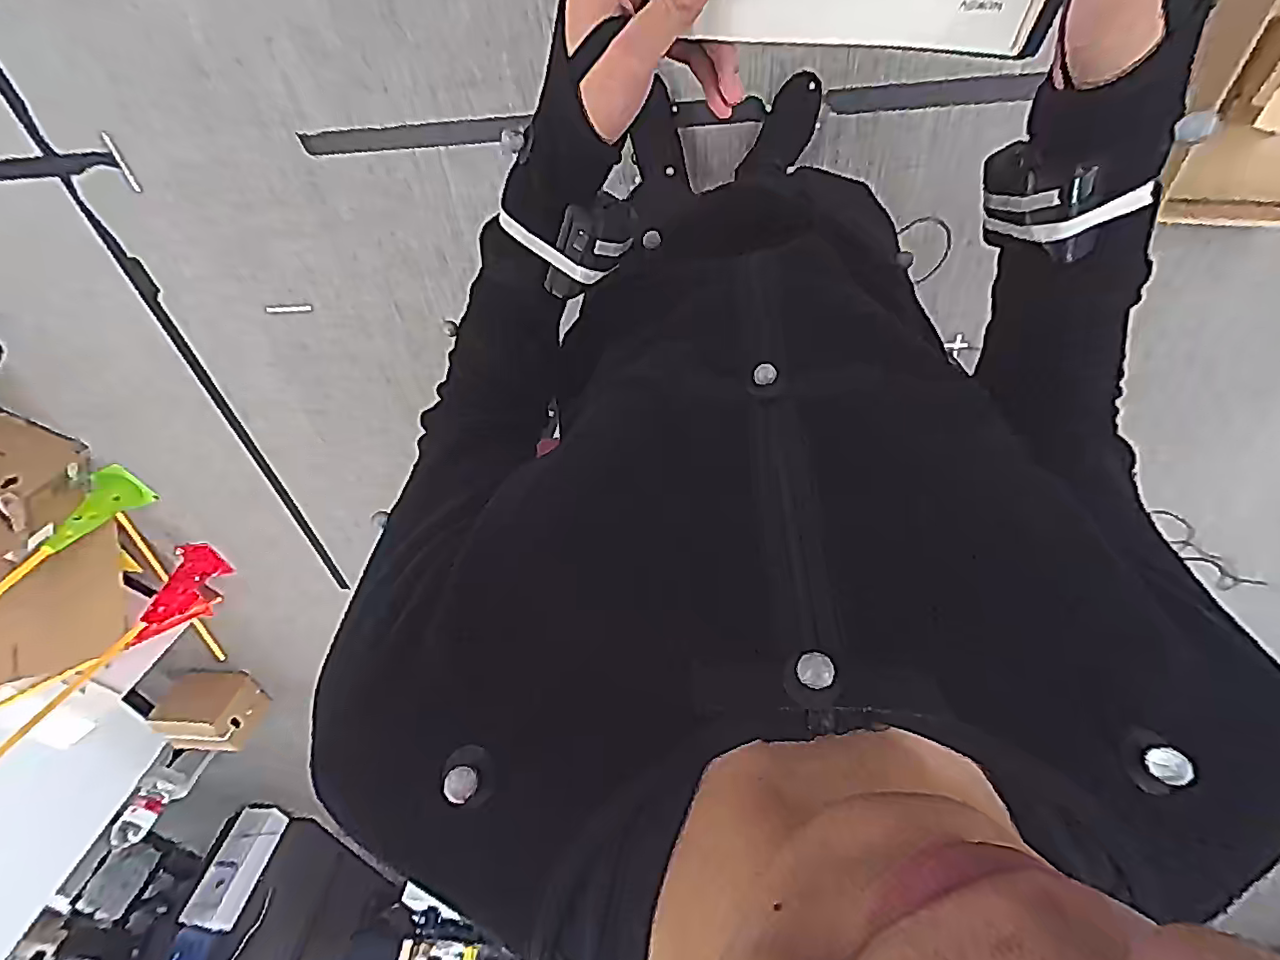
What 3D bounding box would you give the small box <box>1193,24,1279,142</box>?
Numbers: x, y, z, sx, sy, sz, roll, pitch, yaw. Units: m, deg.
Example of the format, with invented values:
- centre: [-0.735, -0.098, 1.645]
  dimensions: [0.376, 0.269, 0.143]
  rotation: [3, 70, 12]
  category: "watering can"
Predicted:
- centre: [1.238, -0.750, 1.027]
  dimensions: [0.179, 0.176, 0.168]
  rotation: [10, 129, -1]
  category: "small box"
